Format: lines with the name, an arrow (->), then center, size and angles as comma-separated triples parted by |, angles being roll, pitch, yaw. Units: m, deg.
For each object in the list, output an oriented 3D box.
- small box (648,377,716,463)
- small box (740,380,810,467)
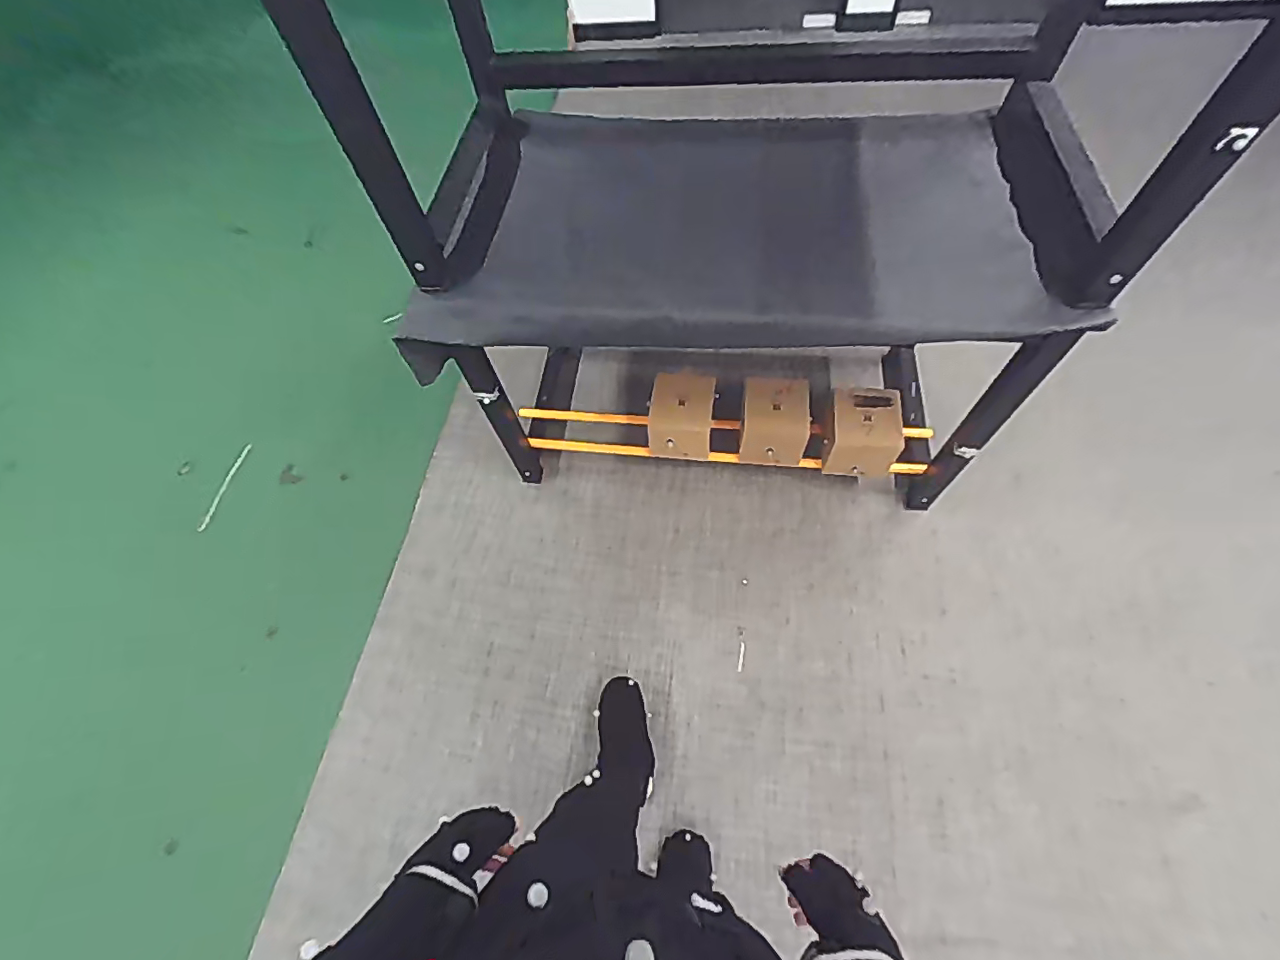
small box -> 0.119, -0.163, 1.500 | 0.168, 0.176, 0.179 | 6, 63, 7
small box -> 0.363, -0.149, 1.470 | 0.168, 0.176, 0.179 | 4, 62, 7
